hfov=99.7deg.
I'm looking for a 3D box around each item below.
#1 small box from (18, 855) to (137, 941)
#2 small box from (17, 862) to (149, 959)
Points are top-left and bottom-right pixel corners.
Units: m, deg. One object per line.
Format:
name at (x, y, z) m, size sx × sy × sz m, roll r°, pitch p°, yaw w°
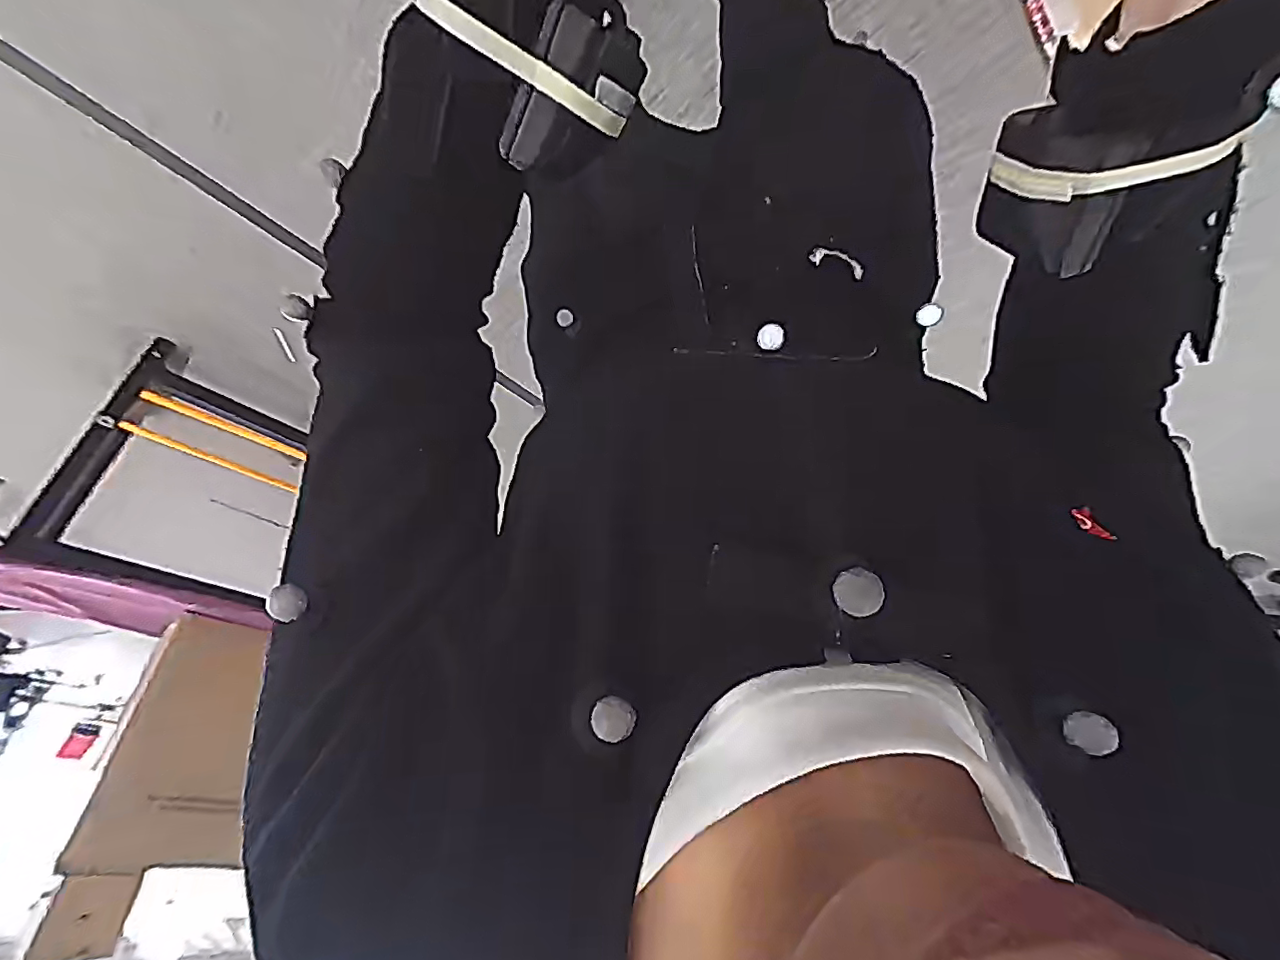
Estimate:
small box at (-1.504, 1.117, 1.453) m, size 0.179 × 0.176 × 0.168 m, roll -24°, pitch 139°, yaw 37°
small box at (-1.354, 1.045, 1.317) m, size 0.179 × 0.176 × 0.168 m, roll -24°, pitch 139°, yaw 36°
